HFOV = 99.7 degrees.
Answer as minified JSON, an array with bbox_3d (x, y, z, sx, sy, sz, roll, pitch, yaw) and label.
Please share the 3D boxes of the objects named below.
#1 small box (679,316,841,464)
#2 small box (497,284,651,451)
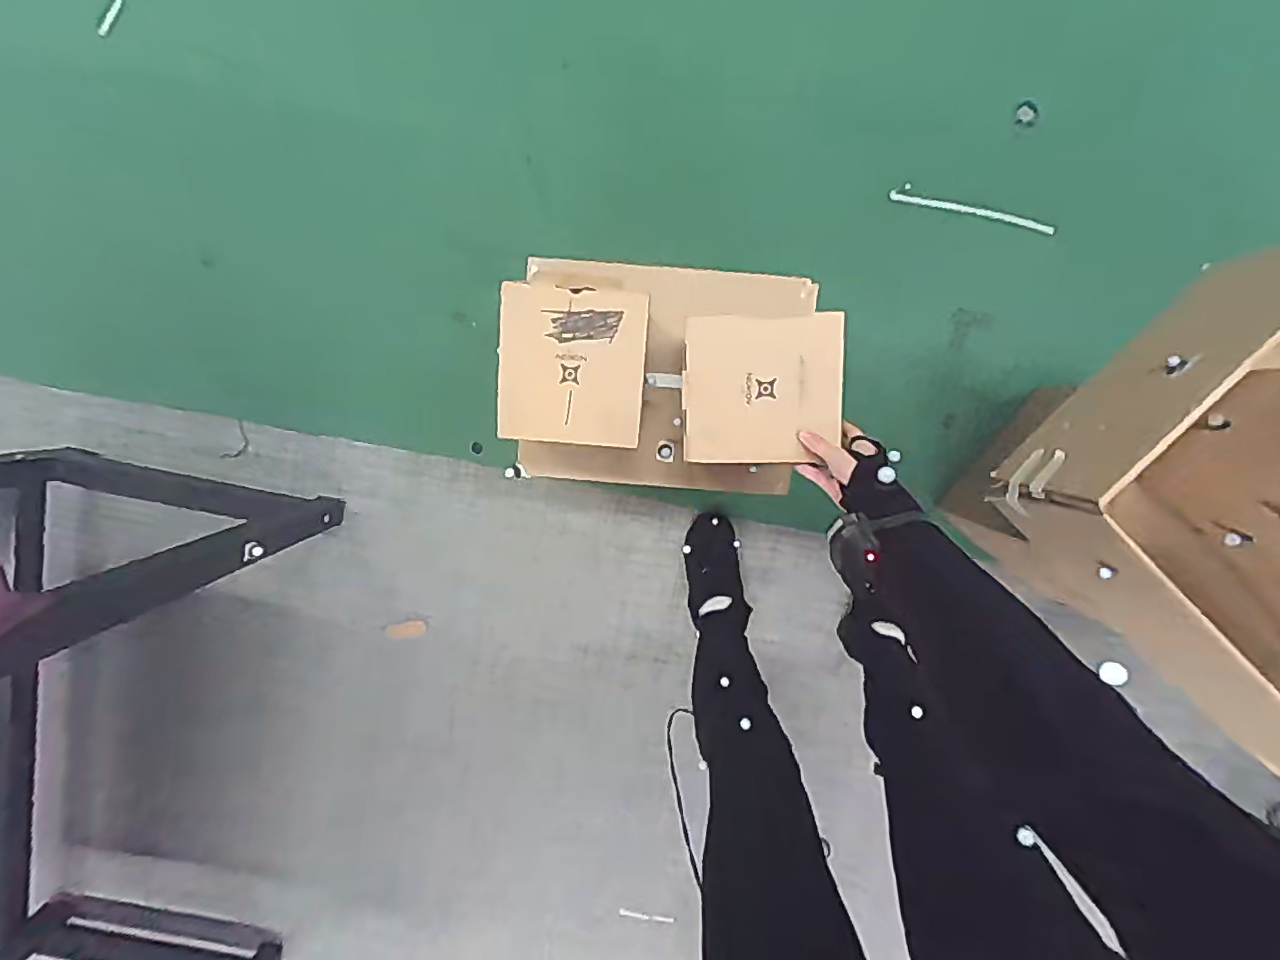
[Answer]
[{"bbox_3d":[0.141,-0.108,0.684,0.179,0.176,0.168,1,97,6],"label":"small box"},{"bbox_3d":[-0.076,-0.138,0.692,0.168,0.176,0.179,5,100,1],"label":"small box"}]
